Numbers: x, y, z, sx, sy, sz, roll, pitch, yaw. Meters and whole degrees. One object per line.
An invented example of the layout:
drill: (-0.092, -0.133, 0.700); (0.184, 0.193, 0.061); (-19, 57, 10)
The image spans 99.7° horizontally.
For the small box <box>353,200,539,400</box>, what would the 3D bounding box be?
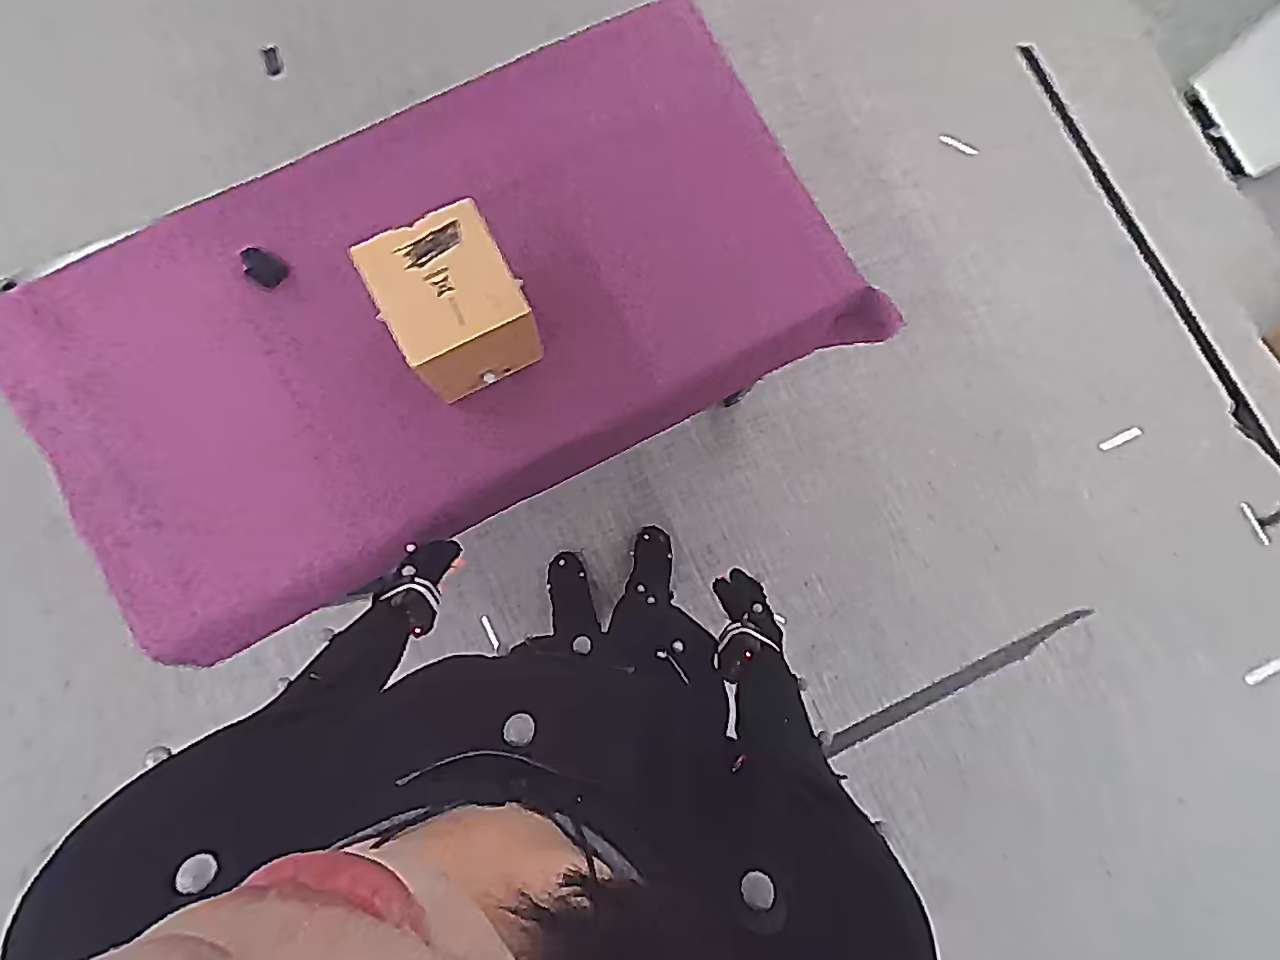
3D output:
small box: (-0.257, -0.239, 0.757); (0.168, 0.176, 0.179); (-28, 85, -8)
